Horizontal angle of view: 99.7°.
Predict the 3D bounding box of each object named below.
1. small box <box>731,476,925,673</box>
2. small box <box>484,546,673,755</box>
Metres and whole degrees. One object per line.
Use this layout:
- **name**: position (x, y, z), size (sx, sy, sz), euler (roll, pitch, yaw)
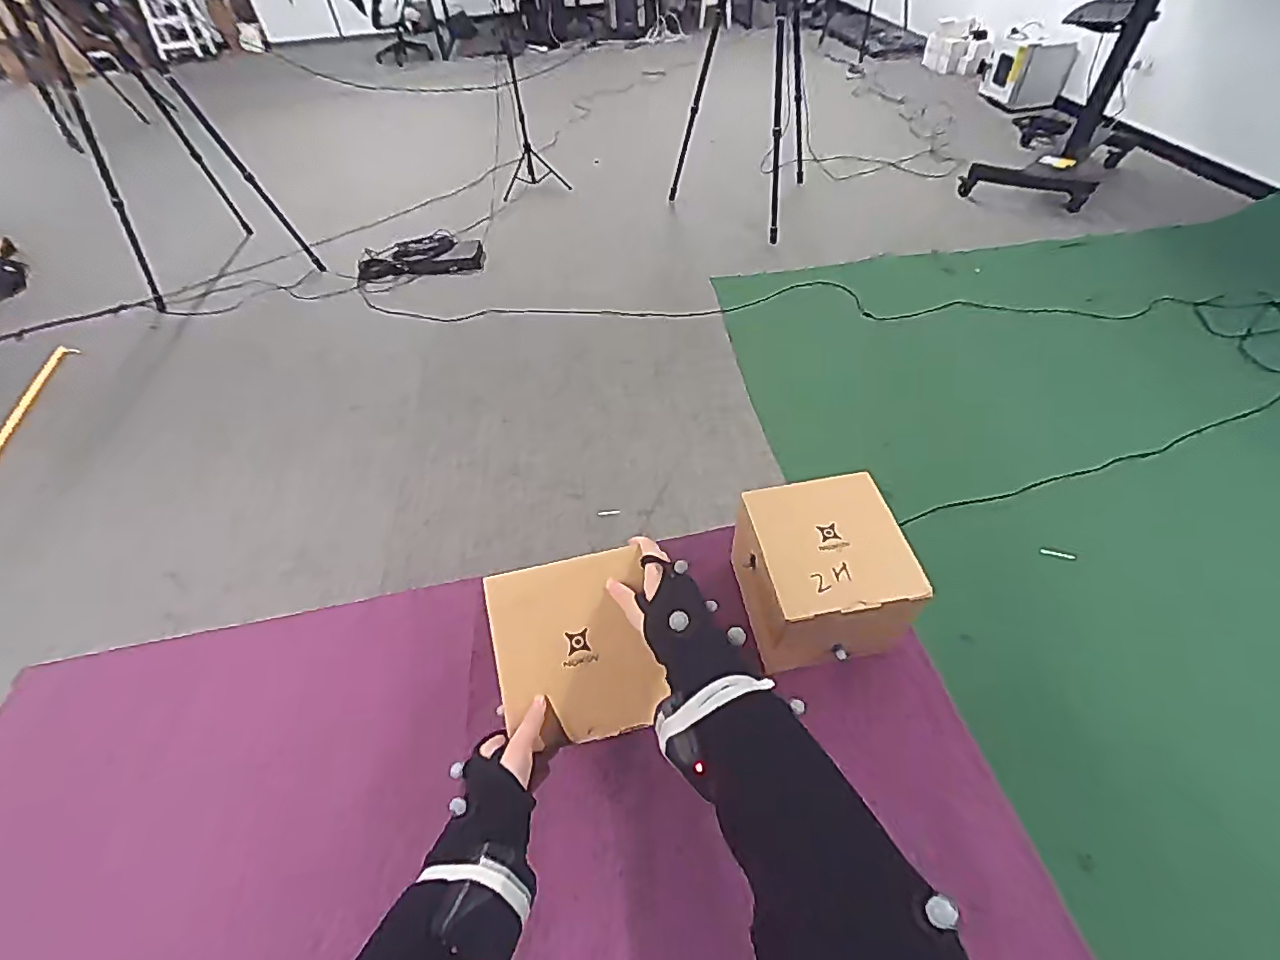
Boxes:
- **small box**: position (0.218, 0.122, 0.687), size (0.168, 0.176, 0.179), euler (-9, 52, -2)
- **small box**: position (-0.065, 0.182, 0.616), size (0.168, 0.176, 0.179), euler (-12, 80, -3)
